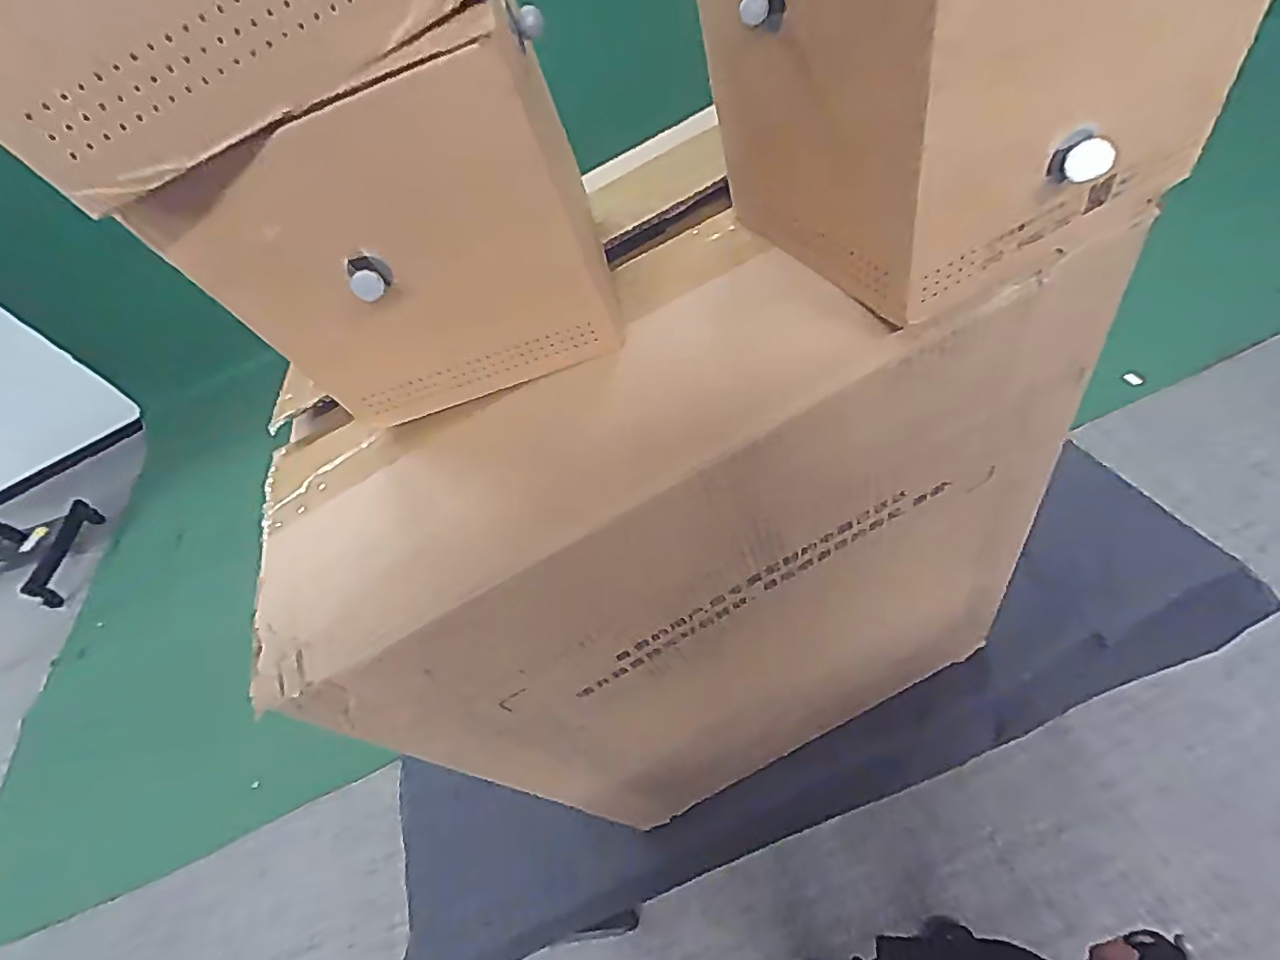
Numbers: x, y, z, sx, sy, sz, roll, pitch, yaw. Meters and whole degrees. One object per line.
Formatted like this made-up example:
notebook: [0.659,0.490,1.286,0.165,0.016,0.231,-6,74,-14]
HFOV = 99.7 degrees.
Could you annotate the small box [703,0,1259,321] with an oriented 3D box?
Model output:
small box: [0.141,-0.210,0.263,0.168,0.176,0.179,-28,49,-1]

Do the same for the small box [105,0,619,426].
small box: [-0.129,-0.156,0.317,0.179,0.176,0.168,-18,58,8]
